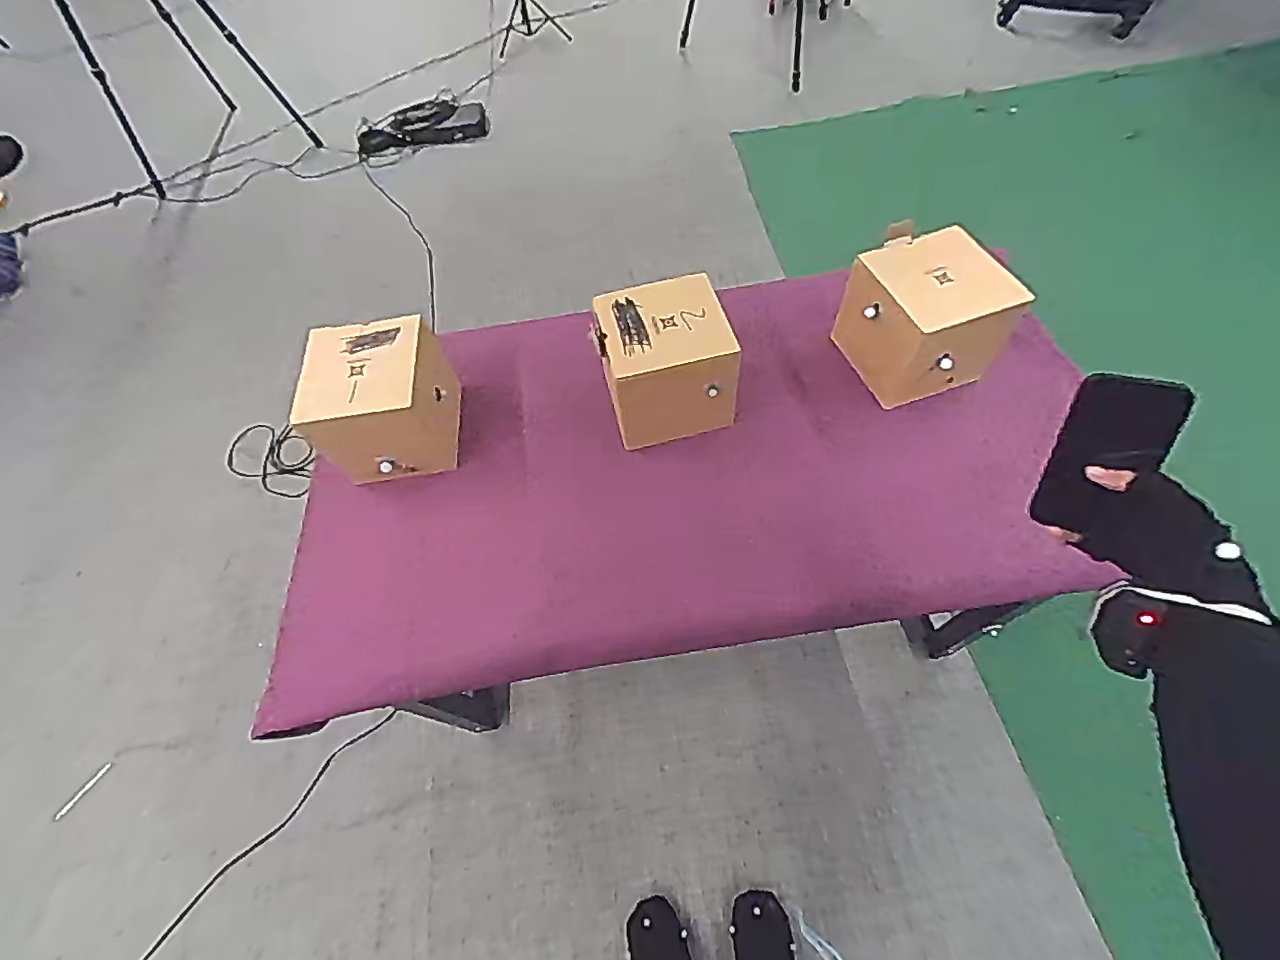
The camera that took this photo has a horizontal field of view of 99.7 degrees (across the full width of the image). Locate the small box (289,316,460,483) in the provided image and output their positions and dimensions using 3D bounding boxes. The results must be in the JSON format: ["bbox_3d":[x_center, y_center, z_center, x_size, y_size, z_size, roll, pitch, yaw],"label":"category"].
[{"bbox_3d":[-0.382,-0.117,0.817,0.168,0.176,0.179,-8,61,0],"label":"small box"}]

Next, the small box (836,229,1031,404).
[{"bbox_3d":[0.423,-0.236,0.816,0.168,0.176,0.179,-18,59,-5],"label":"small box"}]
